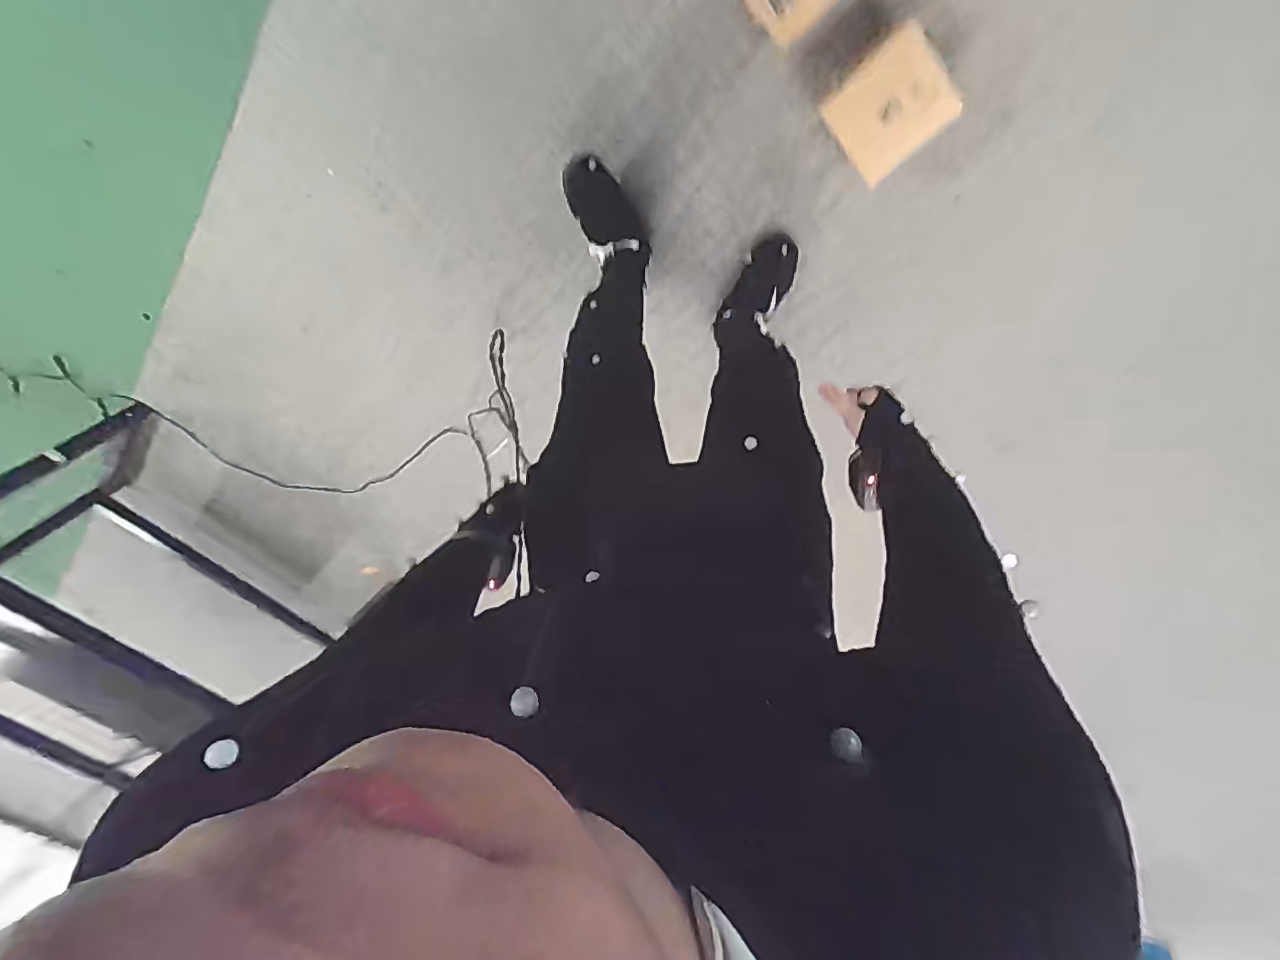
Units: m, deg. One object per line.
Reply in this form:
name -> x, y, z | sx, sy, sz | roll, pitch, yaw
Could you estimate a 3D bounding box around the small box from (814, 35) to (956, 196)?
small box -> 0.438, -0.666, 0.998 | 0.179, 0.176, 0.168 | -34, 113, 31
